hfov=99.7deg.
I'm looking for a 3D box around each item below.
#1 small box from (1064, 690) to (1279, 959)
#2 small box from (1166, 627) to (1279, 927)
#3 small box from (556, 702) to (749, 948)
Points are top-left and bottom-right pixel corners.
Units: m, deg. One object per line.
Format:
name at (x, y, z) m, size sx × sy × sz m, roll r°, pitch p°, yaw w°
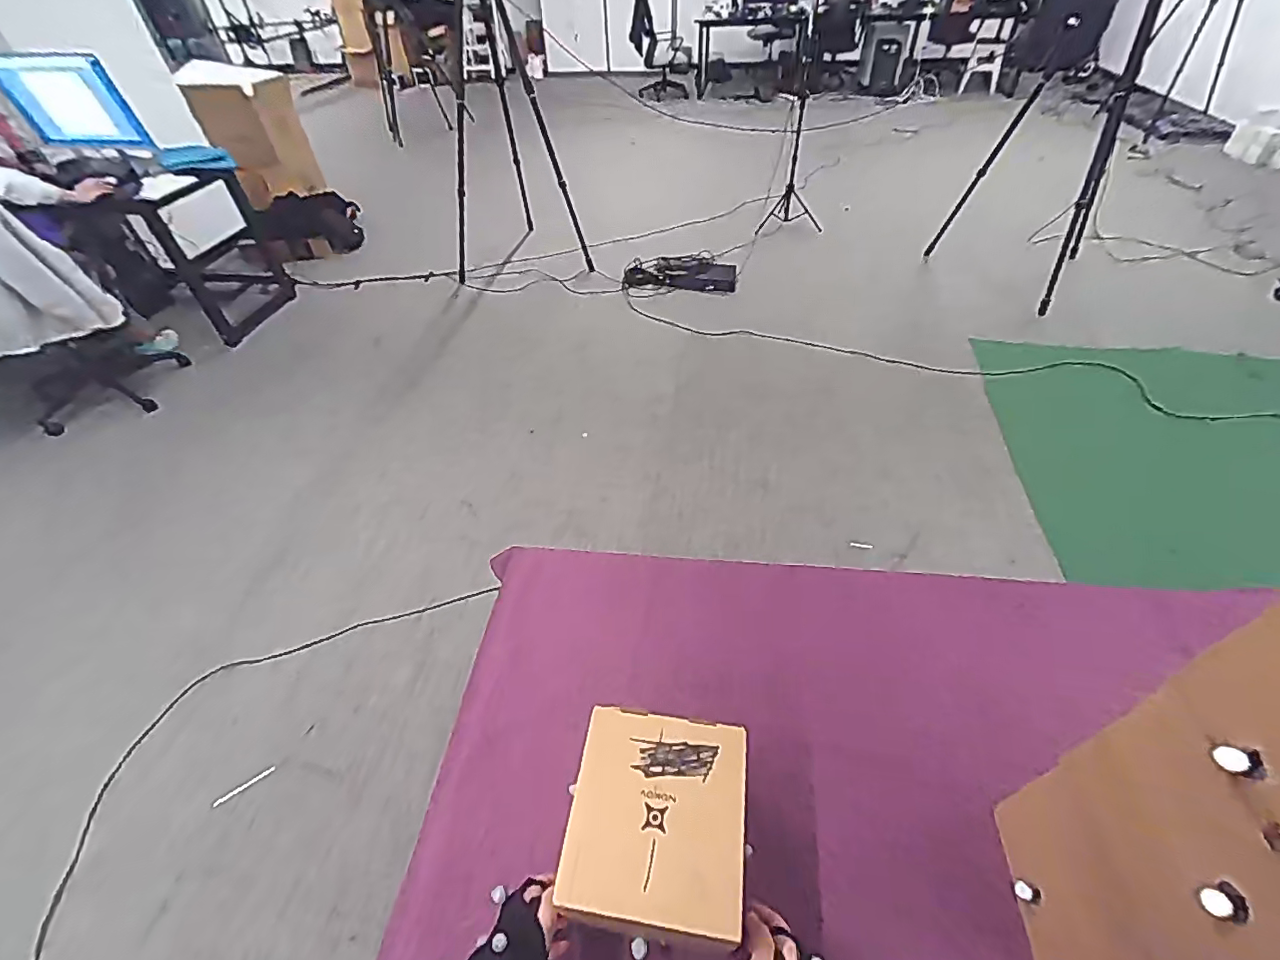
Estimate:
small box at (0.474, 0.284, 0.403) m, size 0.168 × 0.176 × 0.179 m, roll 4°, pitch 46°, yaw 7°
small box at (0.464, 0.166, 0.290) m, size 0.179 × 0.176 × 0.168 m, roll 3°, pitch 45°, yaw 7°
small box at (0.021, 0.366, 0.575) m, size 0.168 × 0.176 × 0.179 m, roll 5°, pitch 47°, yaw 8°
